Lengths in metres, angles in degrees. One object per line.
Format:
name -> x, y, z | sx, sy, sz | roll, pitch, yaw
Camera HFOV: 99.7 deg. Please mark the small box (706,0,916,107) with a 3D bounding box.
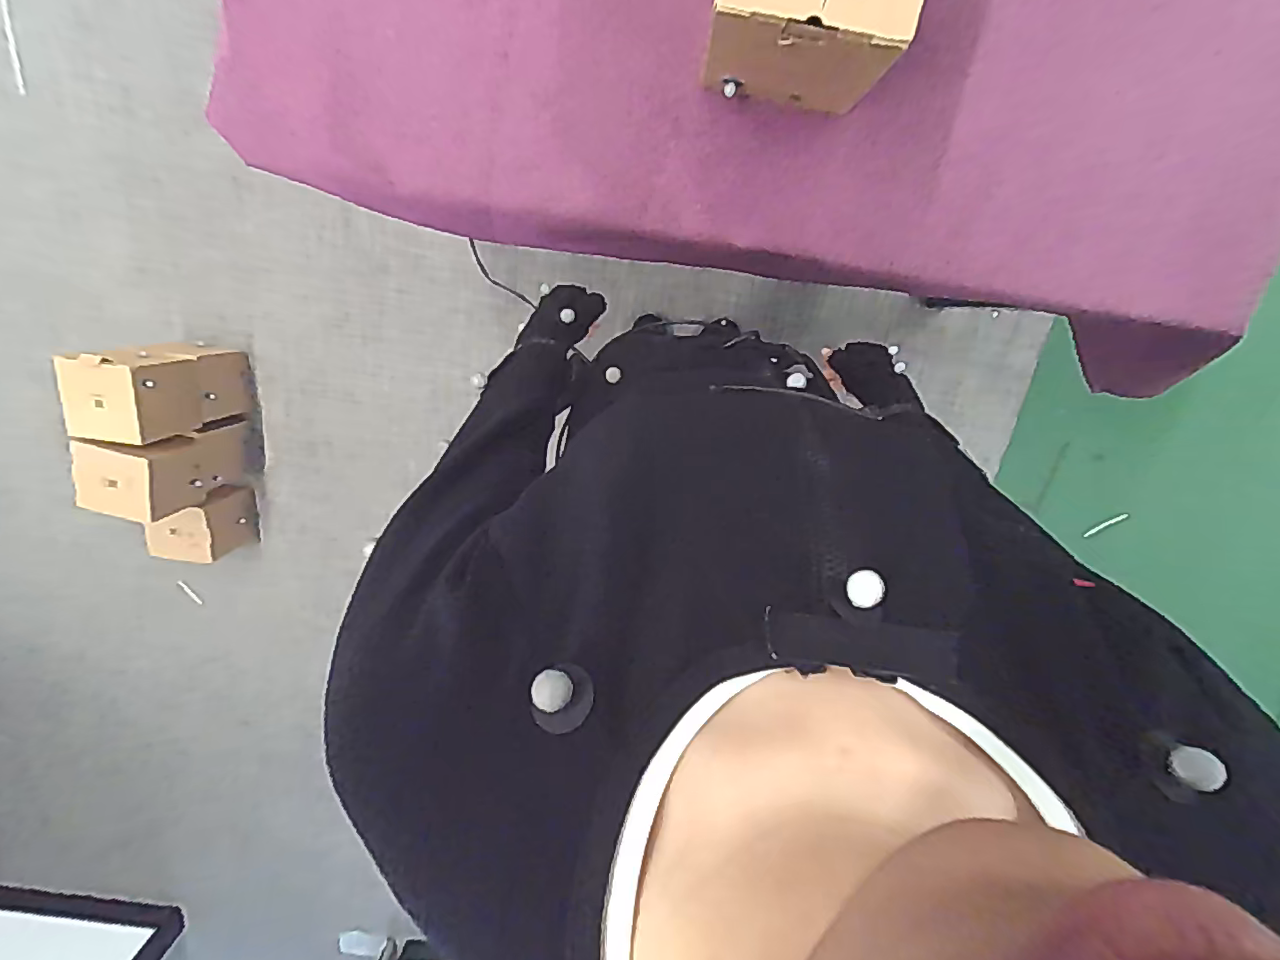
small box -> 0.160, -0.479, 0.498 | 0.168, 0.176, 0.179 | 11, 107, -1
